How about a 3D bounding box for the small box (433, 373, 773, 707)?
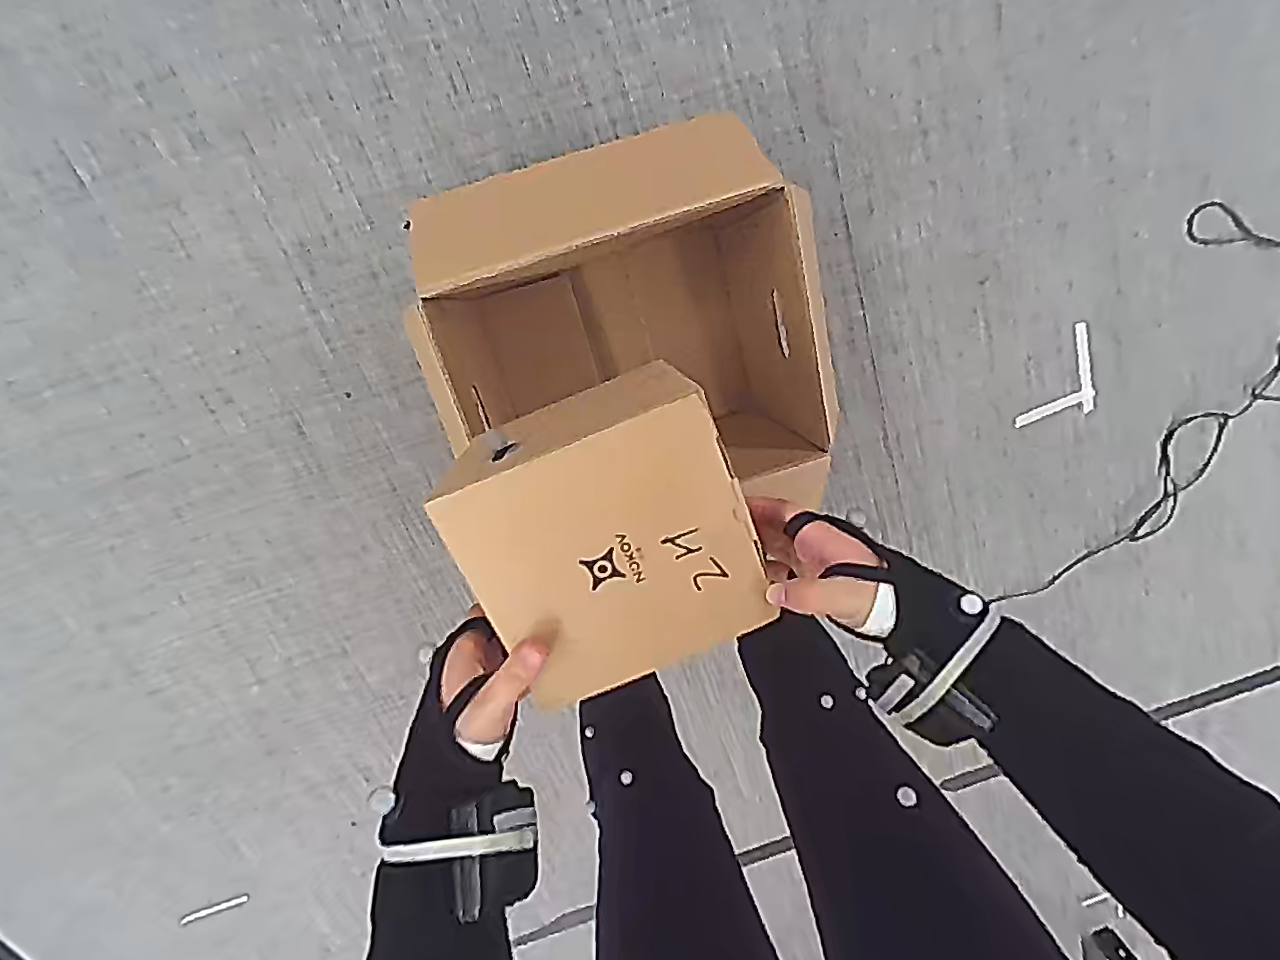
[{"bbox_3d":[-0.025,0.030,0.418,0.179,0.176,0.168,-22,110,0],"label":"small box"}]
